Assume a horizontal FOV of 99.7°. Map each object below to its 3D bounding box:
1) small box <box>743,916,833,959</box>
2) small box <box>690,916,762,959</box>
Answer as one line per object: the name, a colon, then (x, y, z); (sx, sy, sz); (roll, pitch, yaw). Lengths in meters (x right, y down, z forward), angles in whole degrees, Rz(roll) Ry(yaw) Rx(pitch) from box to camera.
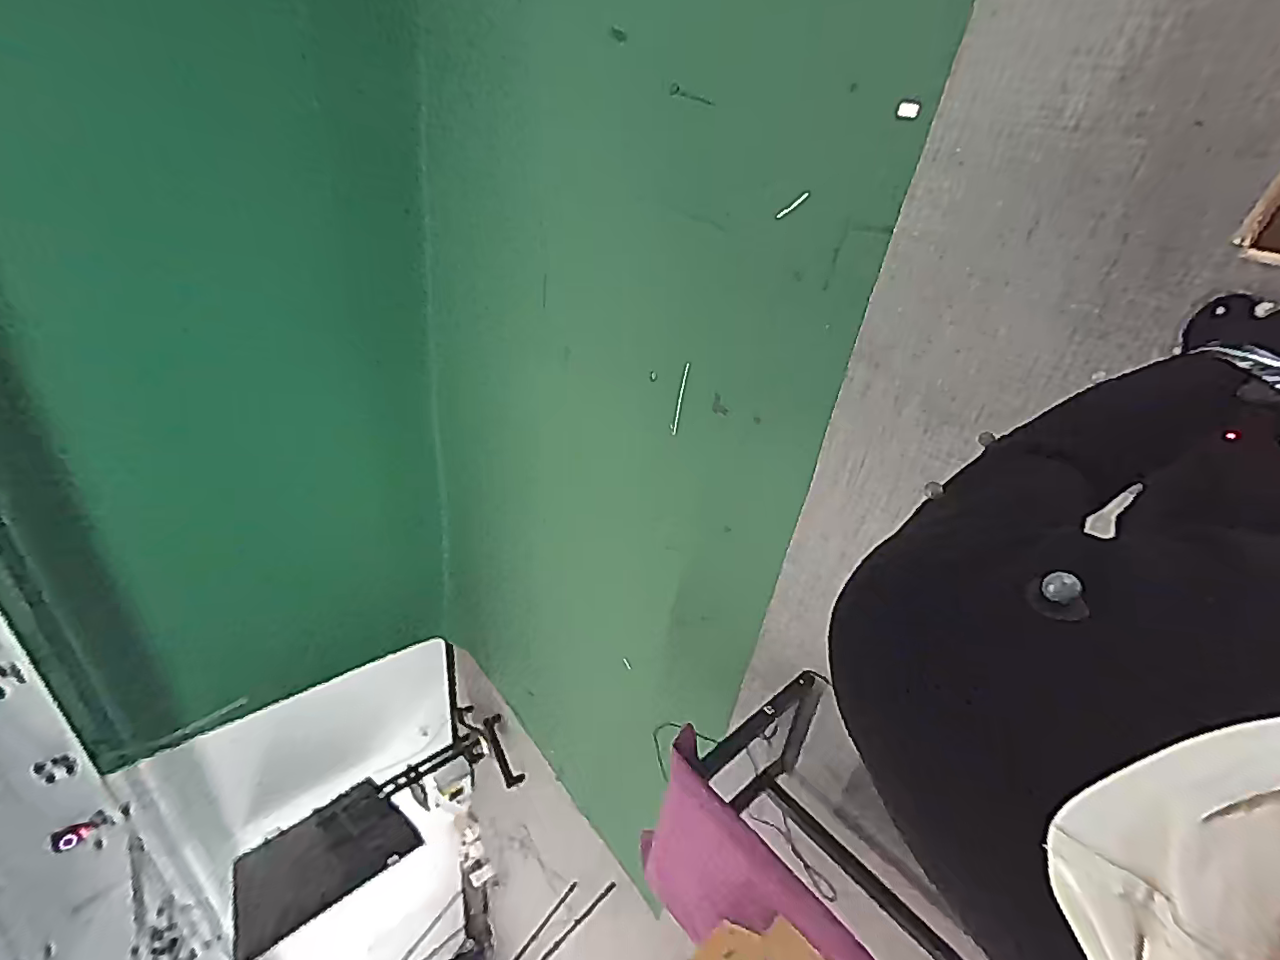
small box: (0.363, 1.221, 1.319); (0.179, 0.176, 0.168); (27, 125, 42)
small box: (0.275, 1.359, 1.486); (0.168, 0.176, 0.179); (-32, 80, 51)
